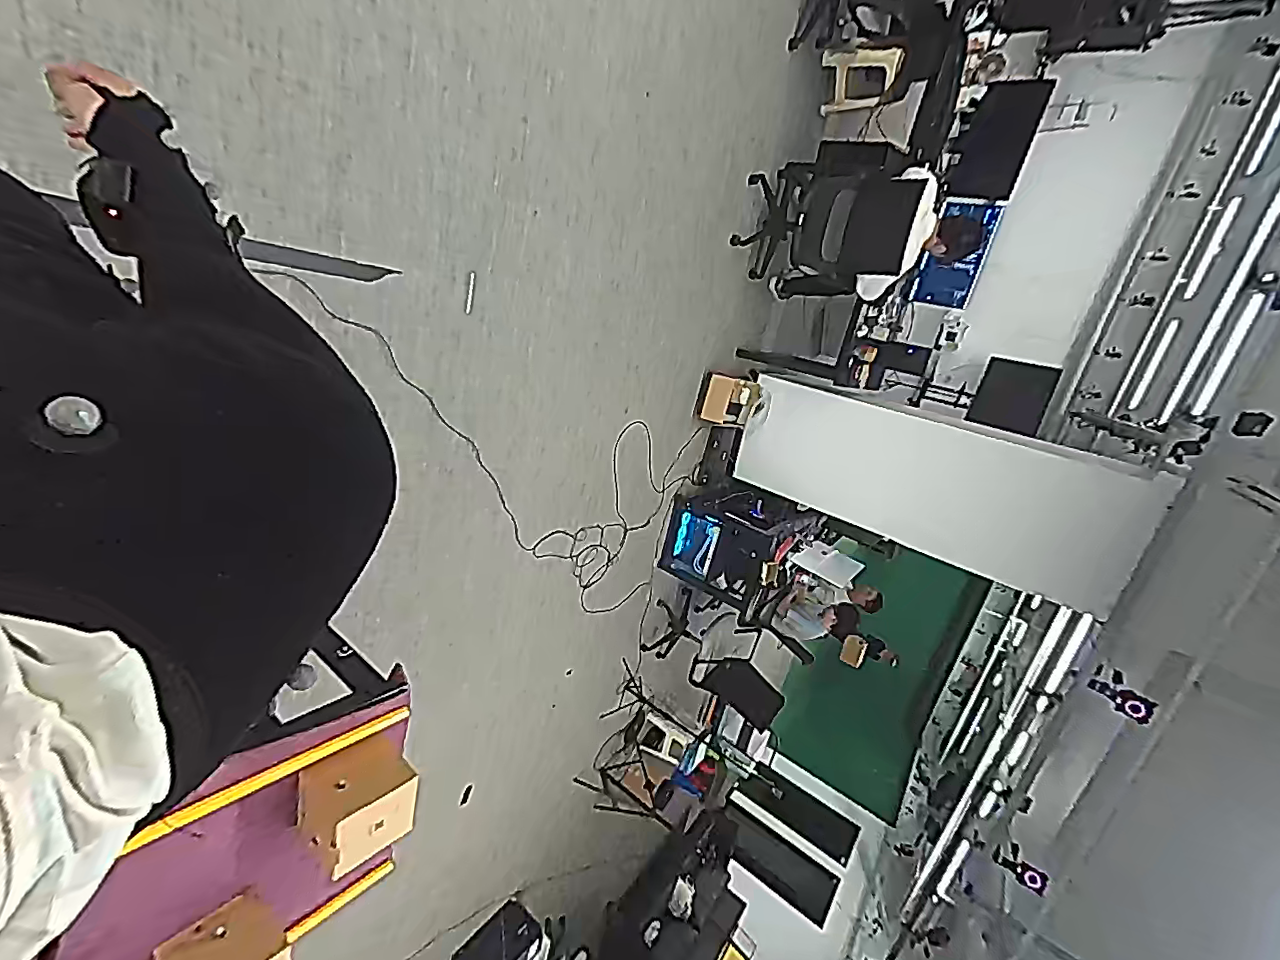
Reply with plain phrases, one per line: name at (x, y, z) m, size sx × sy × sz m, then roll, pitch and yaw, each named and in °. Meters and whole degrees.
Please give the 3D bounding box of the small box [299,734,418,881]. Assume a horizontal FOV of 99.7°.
small box at (-0.614, 0.699, 1.175) m, size 0.179 × 0.176 × 0.168 m, roll -10°, pitch 119°, yaw -52°

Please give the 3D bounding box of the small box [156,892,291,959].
small box at (-0.812, 0.972, 1.054) m, size 0.168 × 0.176 × 0.179 m, roll -11°, pitch 117°, yaw -55°
